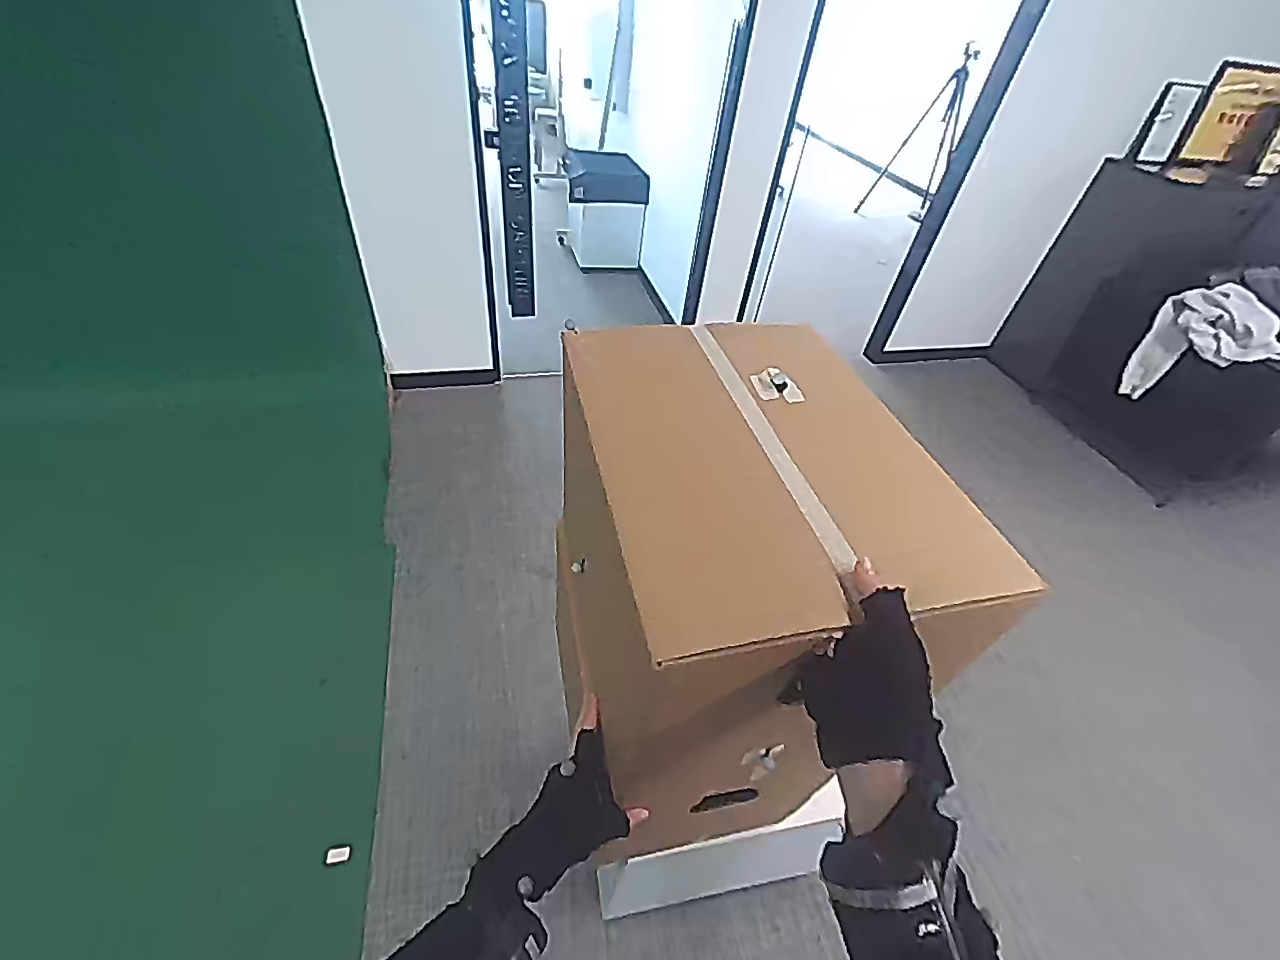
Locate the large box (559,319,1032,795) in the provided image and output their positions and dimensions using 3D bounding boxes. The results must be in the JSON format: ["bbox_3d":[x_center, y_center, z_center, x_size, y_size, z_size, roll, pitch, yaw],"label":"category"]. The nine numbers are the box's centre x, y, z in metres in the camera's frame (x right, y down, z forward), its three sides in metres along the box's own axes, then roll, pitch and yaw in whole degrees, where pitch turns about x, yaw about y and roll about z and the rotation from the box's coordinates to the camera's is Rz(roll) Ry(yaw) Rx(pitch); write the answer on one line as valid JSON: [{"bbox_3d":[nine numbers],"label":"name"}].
[{"bbox_3d":[0.093,0.061,0.609,0.320,0.320,0.408,-6,45,-13],"label":"large box"}]
